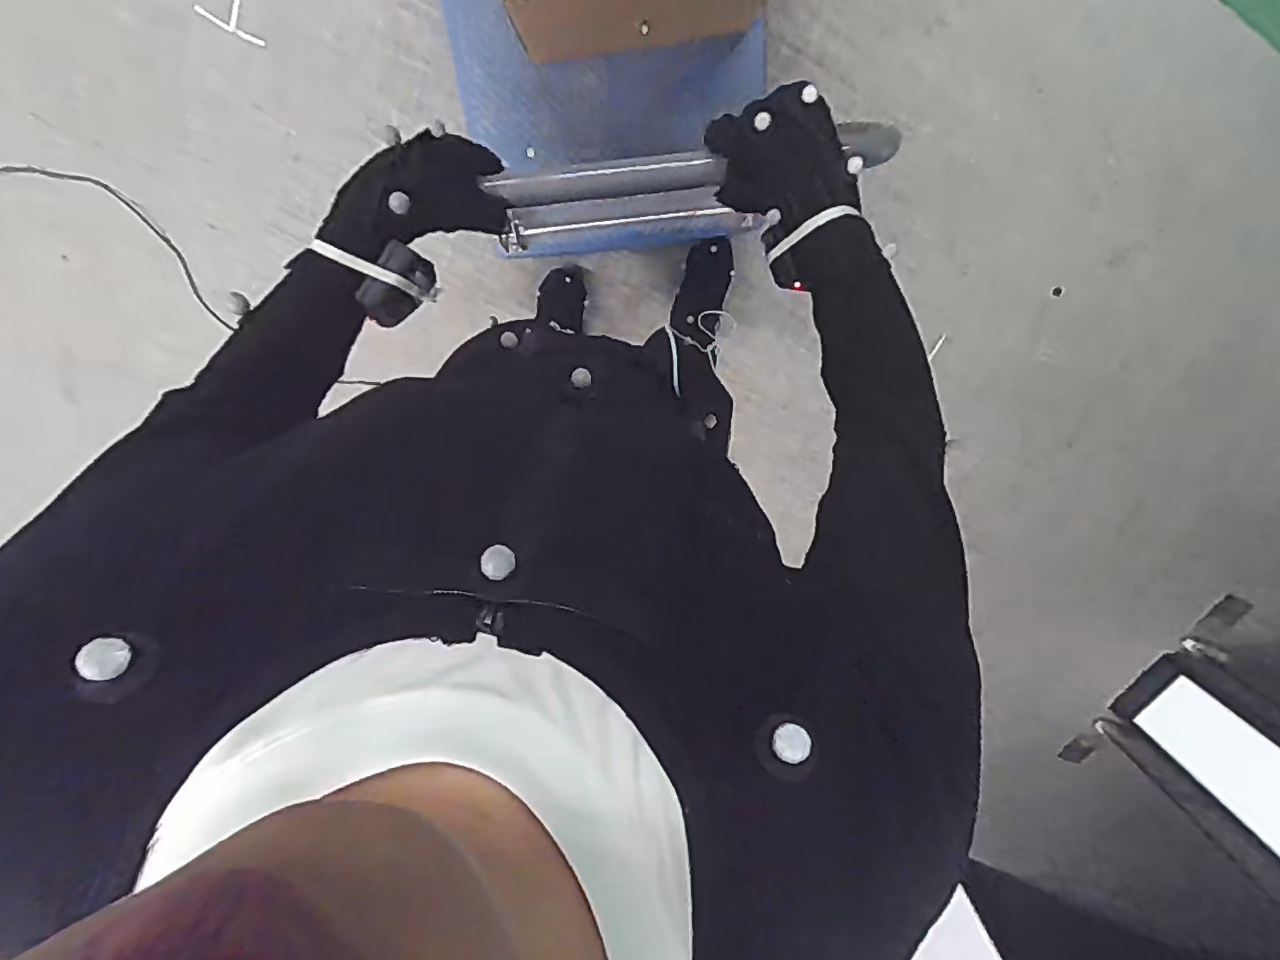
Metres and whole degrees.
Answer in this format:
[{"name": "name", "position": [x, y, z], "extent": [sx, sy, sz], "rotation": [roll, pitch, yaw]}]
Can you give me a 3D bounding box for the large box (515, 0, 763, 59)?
[{"name": "large box", "position": [-0.004, -0.888, 0.807], "extent": [0.408, 0.320, 0.320], "rotation": [-9, 114, 3]}]
